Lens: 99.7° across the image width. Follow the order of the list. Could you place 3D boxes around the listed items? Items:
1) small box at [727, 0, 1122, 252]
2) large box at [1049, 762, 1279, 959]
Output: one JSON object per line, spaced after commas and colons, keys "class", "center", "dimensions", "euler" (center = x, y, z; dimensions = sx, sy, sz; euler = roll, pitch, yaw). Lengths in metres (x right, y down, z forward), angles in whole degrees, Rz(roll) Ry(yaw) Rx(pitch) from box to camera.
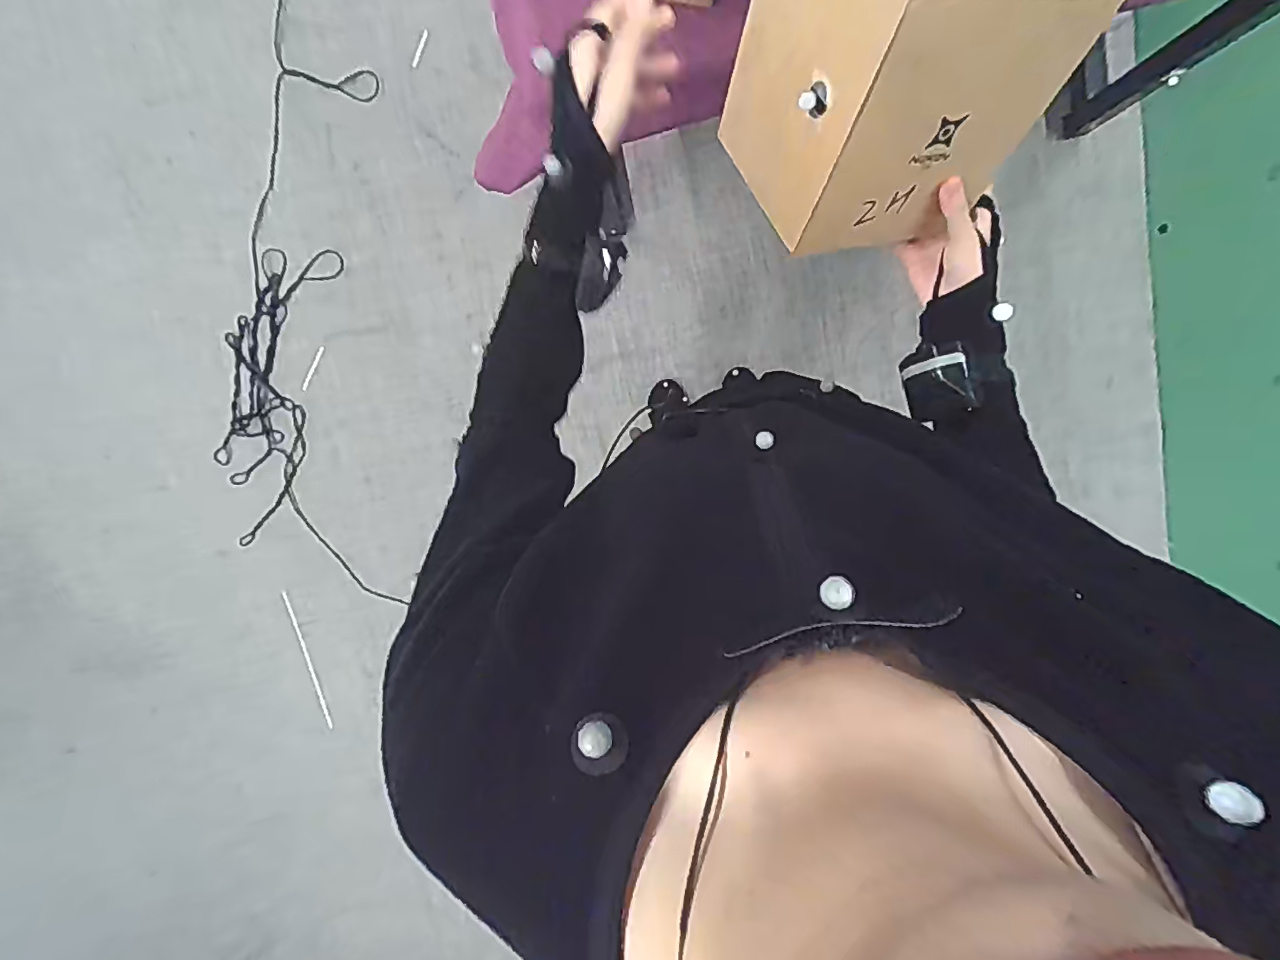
{"class": "small box", "center": [0.186, -0.311, 0.415], "dimensions": [0.168, 0.179, 0.176], "euler": [-13, 65, -15]}
{"class": "large box", "center": [1.419, 1.031, 1.421], "dimensions": [0.408, 0.320, 0.320], "euler": [-25, 97, 7]}
